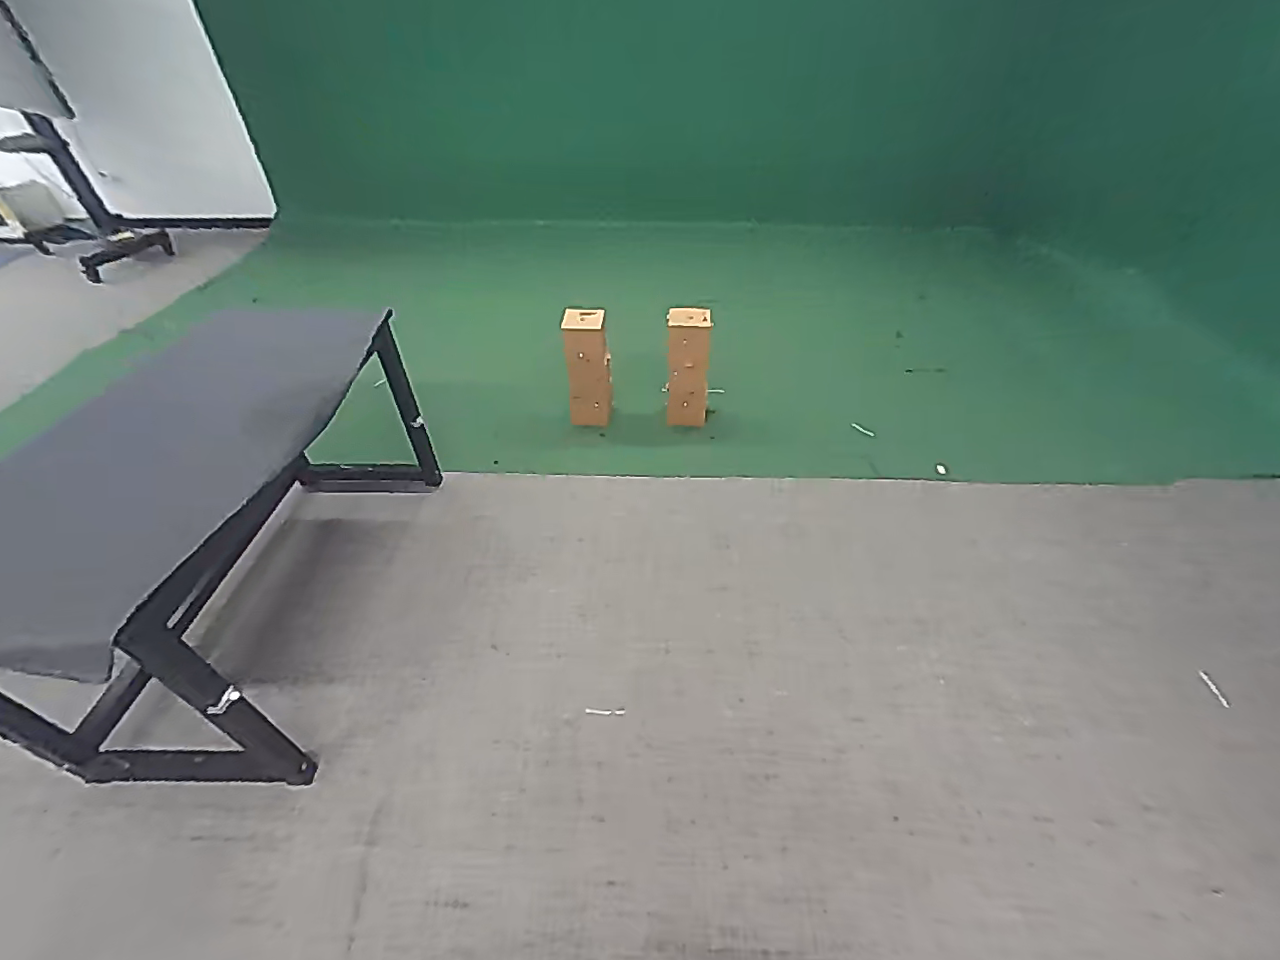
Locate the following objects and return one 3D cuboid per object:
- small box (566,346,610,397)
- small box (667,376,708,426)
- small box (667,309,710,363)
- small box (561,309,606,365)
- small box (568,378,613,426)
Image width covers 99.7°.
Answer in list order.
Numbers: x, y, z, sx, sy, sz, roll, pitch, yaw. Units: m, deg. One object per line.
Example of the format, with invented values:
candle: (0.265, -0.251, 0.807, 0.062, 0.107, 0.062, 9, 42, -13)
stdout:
small box: (-0.227, -0.480, 2.396, 0.179, 0.176, 0.168, -1, 42, 0)
small box: (0.219, -0.366, 2.511, 0.179, 0.176, 0.168, 3, 43, 5)
small box: (0.205, -0.609, 2.291, 0.179, 0.176, 0.168, 2, 42, 4)
small box: (-0.234, -0.604, 2.288, 0.168, 0.176, 0.179, 1, 43, 2)
small box: (-0.224, -0.367, 2.513, 0.179, 0.176, 0.168, 5, 42, 6)
